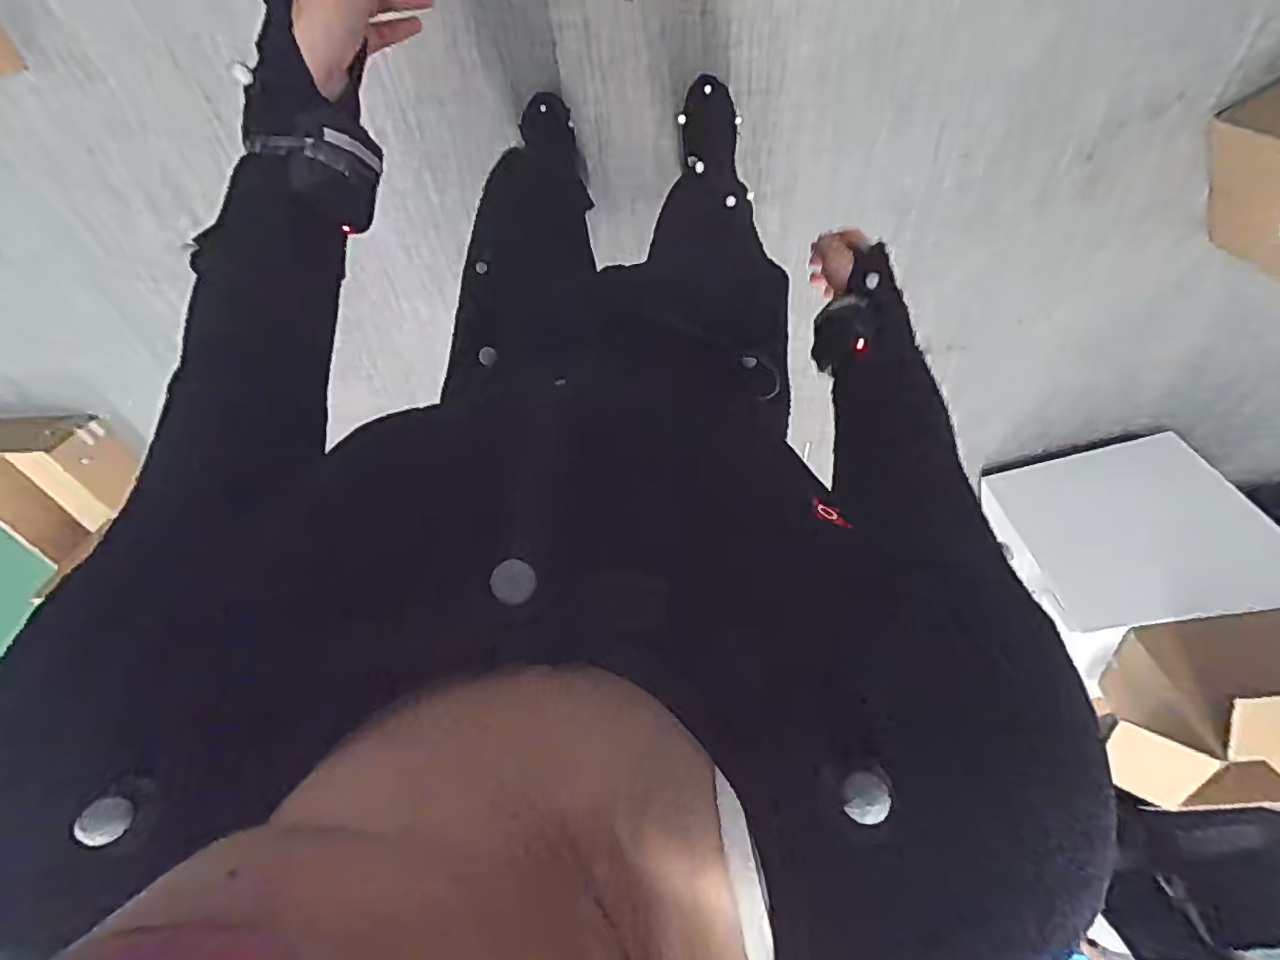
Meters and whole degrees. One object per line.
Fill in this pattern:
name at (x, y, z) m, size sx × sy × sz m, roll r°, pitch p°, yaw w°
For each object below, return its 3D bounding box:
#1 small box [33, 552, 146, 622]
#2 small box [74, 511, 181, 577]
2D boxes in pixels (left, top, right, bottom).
small box at (-1.792, 0.349, 1.780) m, size 0.179 × 0.176 × 0.168 m, roll -2°, pitch 134°, yaw 1°
small box at (-1.780, 0.227, 1.890) m, size 0.179 × 0.176 × 0.168 m, roll -5°, pitch 134°, yaw 4°
